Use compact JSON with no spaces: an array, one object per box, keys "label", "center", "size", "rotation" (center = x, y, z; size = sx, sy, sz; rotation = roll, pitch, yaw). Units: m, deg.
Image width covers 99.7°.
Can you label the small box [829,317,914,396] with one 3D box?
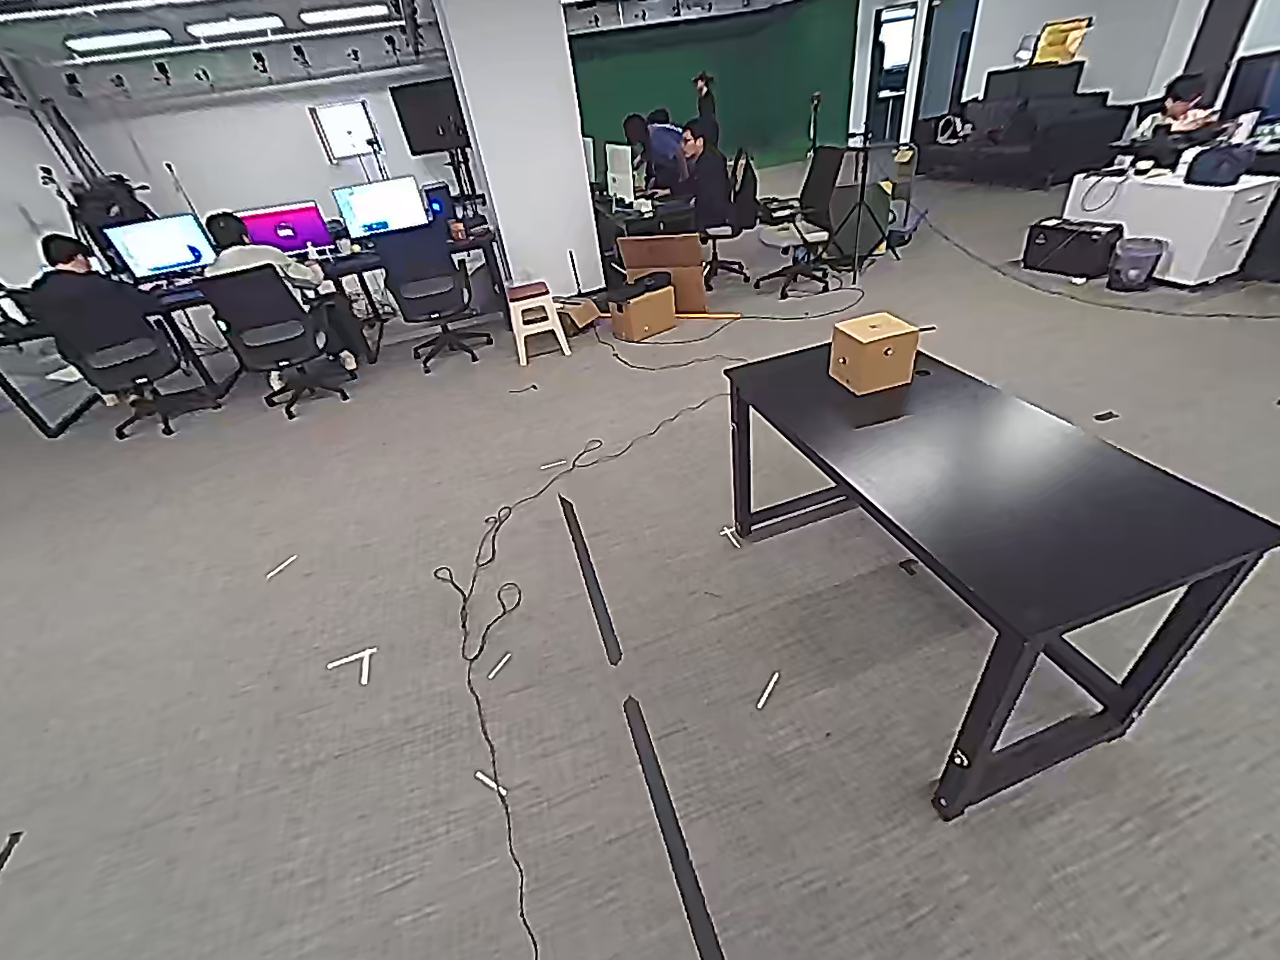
[{"label":"small box","center":[0.686,-0.368,1.625],"size":[0.179,0.176,0.168],"rotation":[-15,36,-8]}]
